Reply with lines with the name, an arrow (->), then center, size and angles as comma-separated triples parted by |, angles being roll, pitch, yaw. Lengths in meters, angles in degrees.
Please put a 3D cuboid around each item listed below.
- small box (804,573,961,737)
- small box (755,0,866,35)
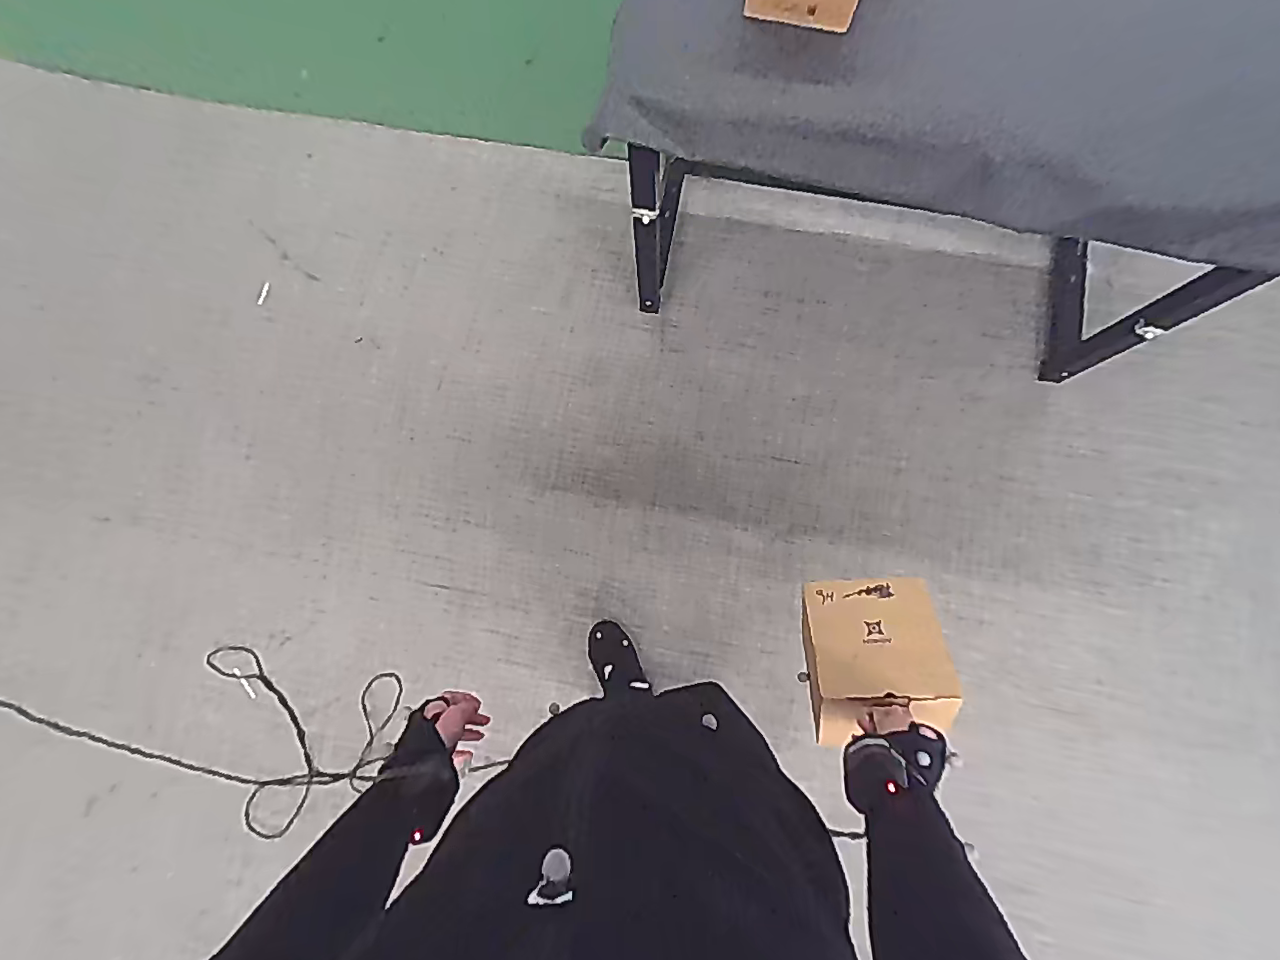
small box -> 0.330, 0.254, 0.773 | 0.168, 0.176, 0.179 | -5, 47, 12
small box -> 0.275, -0.810, 0.794 | 0.168, 0.176, 0.179 | 13, 79, 2
